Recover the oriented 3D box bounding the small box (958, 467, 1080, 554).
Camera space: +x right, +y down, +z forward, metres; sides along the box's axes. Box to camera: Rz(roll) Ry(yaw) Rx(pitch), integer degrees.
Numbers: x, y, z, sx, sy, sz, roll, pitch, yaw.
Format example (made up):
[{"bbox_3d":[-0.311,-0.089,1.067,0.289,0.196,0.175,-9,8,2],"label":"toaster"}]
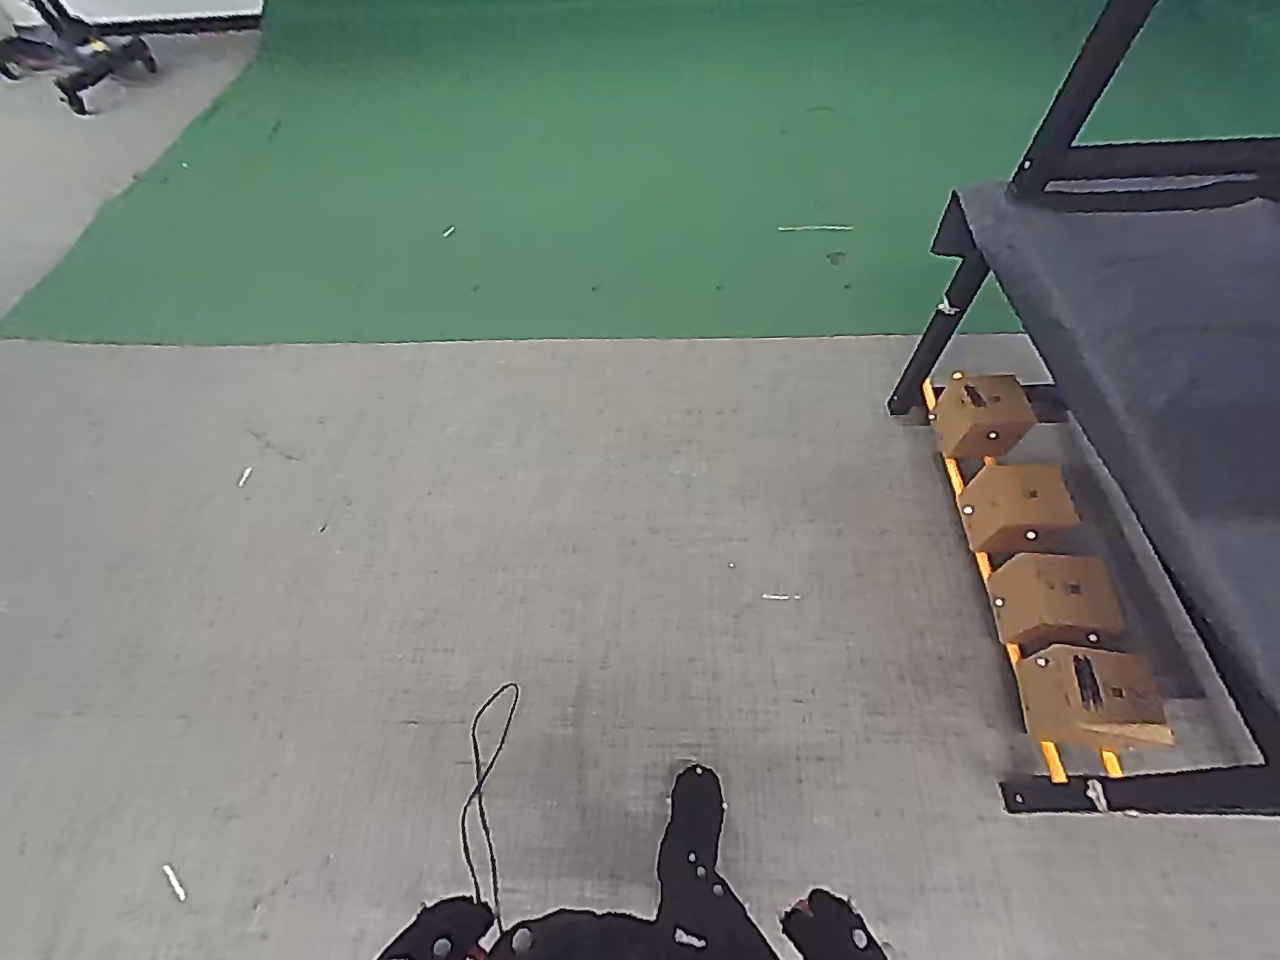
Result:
[{"bbox_3d":[0.949,0.080,1.372,0.179,0.176,0.168,0,59,6],"label":"small box"}]
